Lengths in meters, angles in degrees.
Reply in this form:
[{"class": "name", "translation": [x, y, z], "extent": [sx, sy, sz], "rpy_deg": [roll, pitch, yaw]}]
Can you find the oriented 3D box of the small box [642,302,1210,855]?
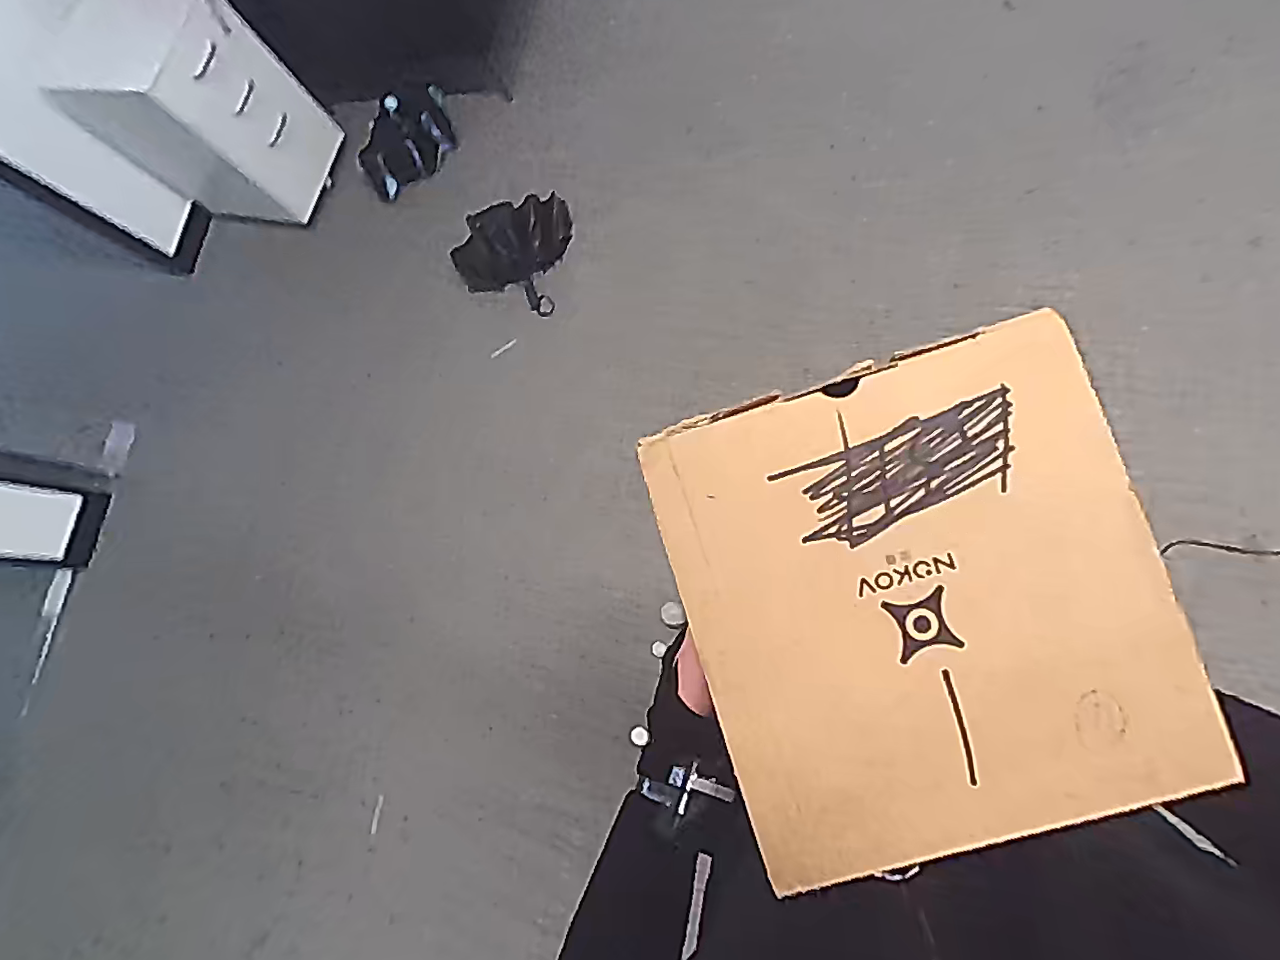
[{"class": "small box", "translation": [0.107, 0.042, 0.284], "extent": [0.168, 0.176, 0.179], "rpy_deg": [-18, 85, 5]}]
